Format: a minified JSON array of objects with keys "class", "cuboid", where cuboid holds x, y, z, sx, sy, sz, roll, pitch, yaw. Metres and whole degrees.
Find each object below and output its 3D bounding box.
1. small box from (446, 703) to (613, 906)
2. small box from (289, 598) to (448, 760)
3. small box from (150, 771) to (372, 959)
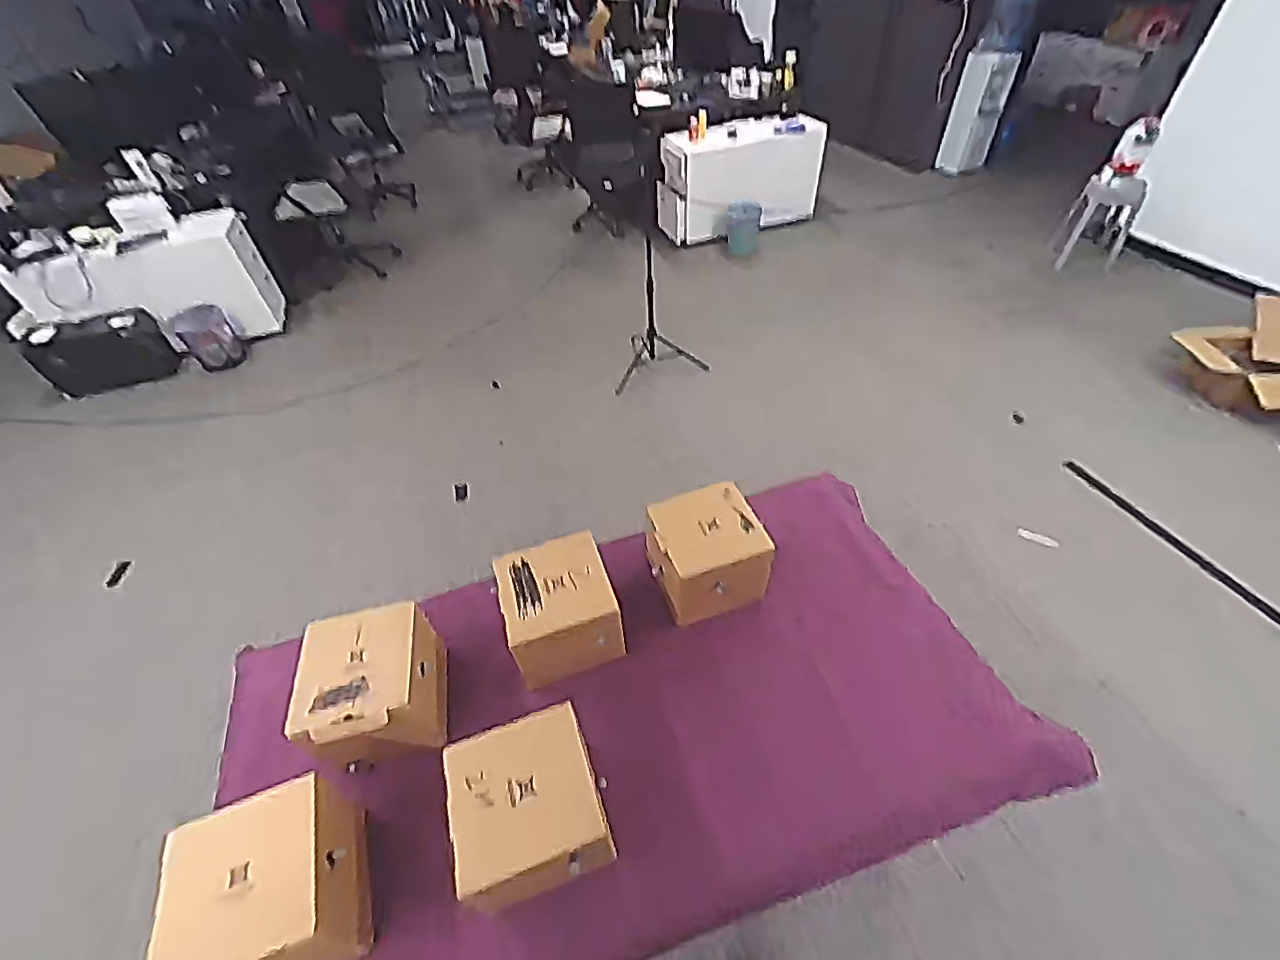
[{"class":"small box","cuboid":[-0.140,0.431,0.719,0.179,0.176,0.168,-17,48,-11]},{"class":"small box","cuboid":[-0.408,0.317,0.847,0.168,0.176,0.179,-12,47,-8]},{"class":"small box","cuboid":[-0.450,0.504,0.669,0.168,0.176,0.179,-18,48,-16]}]
